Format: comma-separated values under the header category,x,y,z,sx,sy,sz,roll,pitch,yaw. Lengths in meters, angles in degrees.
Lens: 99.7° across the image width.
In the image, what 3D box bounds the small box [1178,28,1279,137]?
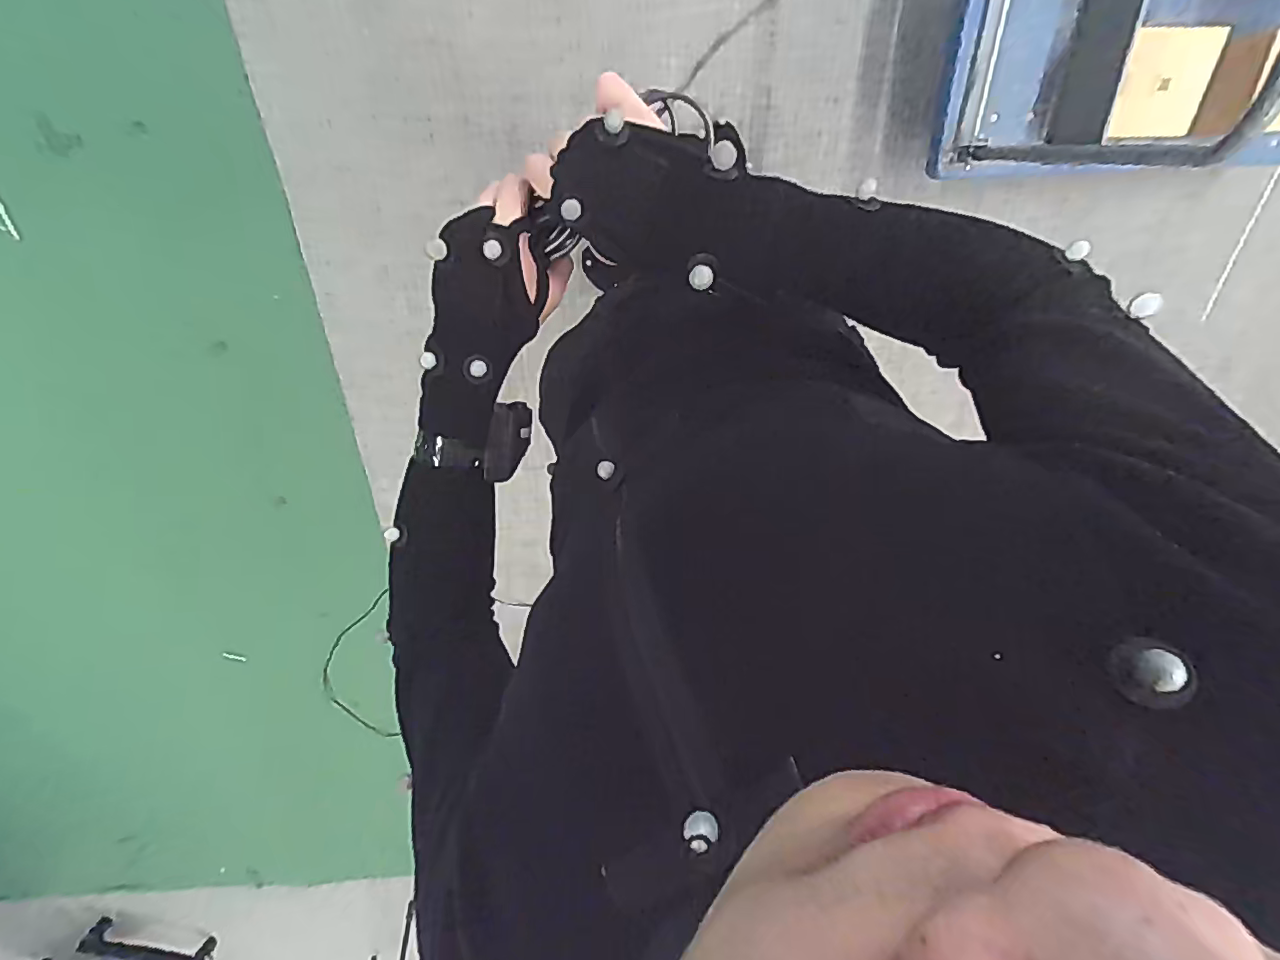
category,x,y,z,sx,sy,sz,roll,pitch,yaw
small box,1.233,-0.782,1.061,0.179,0.176,0.168,-6,120,1

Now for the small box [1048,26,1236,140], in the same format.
category,x,y,z,sx,sy,sz,roll,pitch,yaw
small box,0.963,-0.768,1.058,0.179,0.176,0.168,-2,120,-1
